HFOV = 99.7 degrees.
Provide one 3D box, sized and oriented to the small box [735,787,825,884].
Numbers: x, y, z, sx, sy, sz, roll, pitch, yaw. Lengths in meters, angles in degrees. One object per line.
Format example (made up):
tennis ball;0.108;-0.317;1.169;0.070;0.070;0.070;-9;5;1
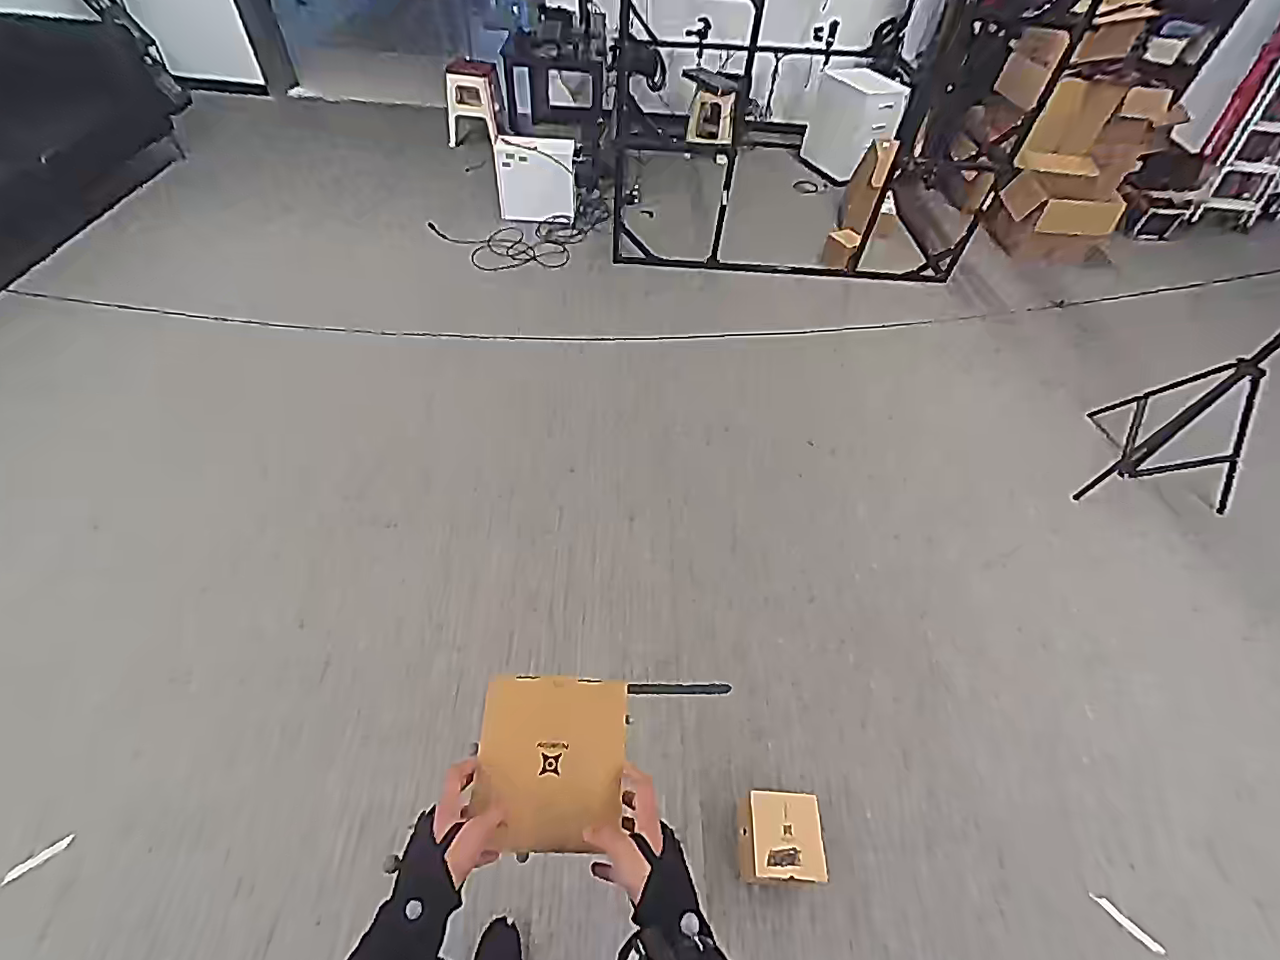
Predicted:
small box;0.332;0.868;1.316;0.168;0.176;0.179;6;50;-1

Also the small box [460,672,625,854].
small box;-0.111;0.347;0.667;0.168;0.176;0.179;5;59;-6
